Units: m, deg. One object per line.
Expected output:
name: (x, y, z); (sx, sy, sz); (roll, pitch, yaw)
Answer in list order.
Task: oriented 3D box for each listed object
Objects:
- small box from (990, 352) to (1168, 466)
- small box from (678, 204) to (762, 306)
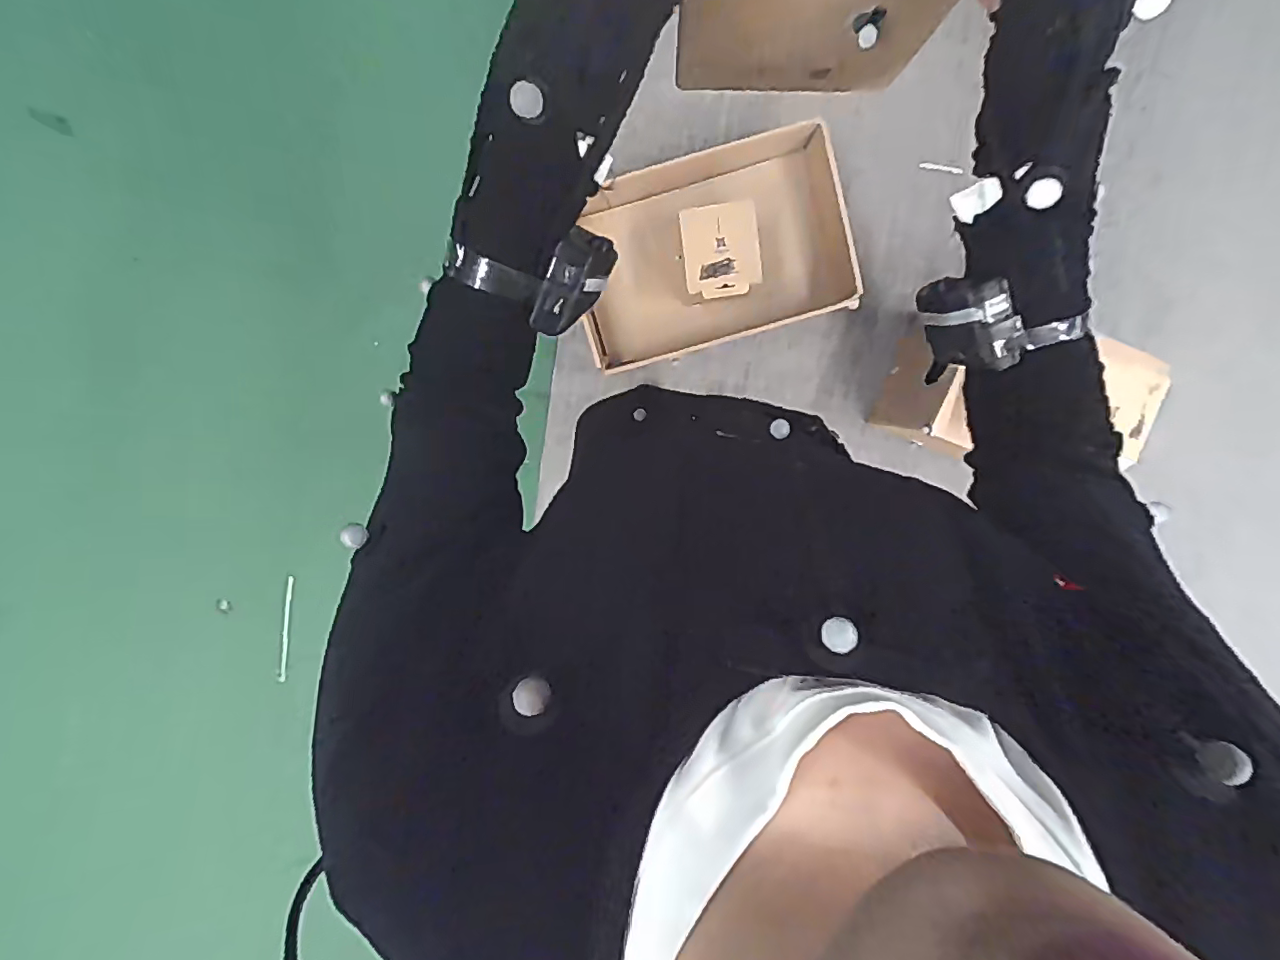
small box: (0.823, -0.136, 1.037); (0.179, 0.176, 0.168); (16, 100, -2)
small box: (0.179, -0.507, 1.248); (0.168, 0.176, 0.179); (-7, 97, 2)
